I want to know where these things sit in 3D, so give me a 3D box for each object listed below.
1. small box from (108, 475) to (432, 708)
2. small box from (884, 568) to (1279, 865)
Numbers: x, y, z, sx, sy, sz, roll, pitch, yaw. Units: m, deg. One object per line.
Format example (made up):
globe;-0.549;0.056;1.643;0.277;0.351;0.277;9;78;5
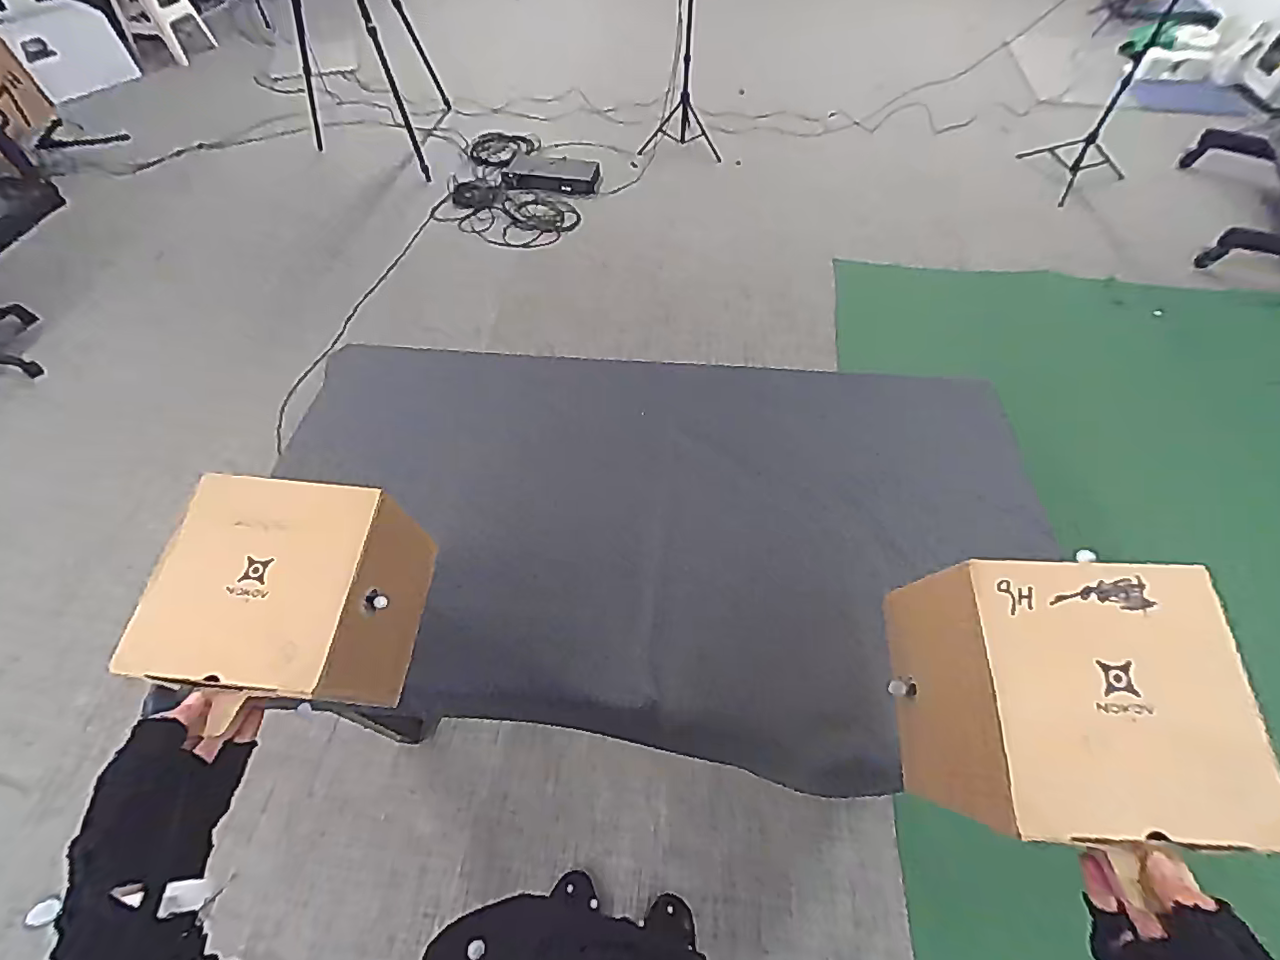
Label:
small box;-0.318;0.115;0.516;0.168;0.176;0.179;6;64;0
small box;0.315;0.173;0.431;0.168;0.176;0.179;1;70;2
